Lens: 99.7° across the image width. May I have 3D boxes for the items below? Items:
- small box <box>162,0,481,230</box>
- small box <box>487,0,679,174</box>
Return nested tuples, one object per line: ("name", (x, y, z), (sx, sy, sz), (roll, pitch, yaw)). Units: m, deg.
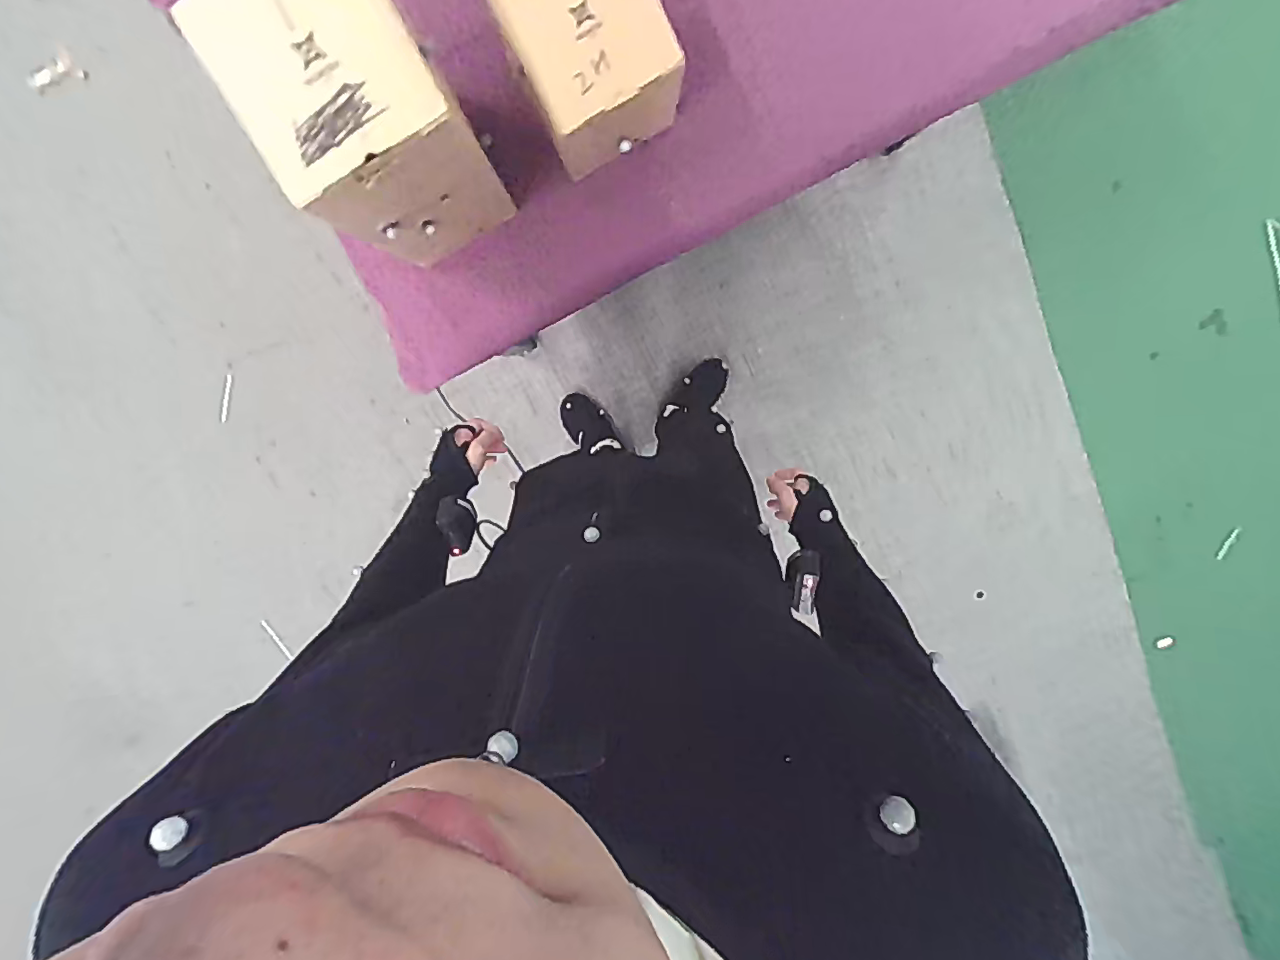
("small box", (-0.282, -0.369, 0.529), (0.168, 0.176, 0.179), (-29, 102, 4))
("small box", (-0.069, -0.525, 0.671), (0.168, 0.176, 0.179), (-29, 102, 5))
